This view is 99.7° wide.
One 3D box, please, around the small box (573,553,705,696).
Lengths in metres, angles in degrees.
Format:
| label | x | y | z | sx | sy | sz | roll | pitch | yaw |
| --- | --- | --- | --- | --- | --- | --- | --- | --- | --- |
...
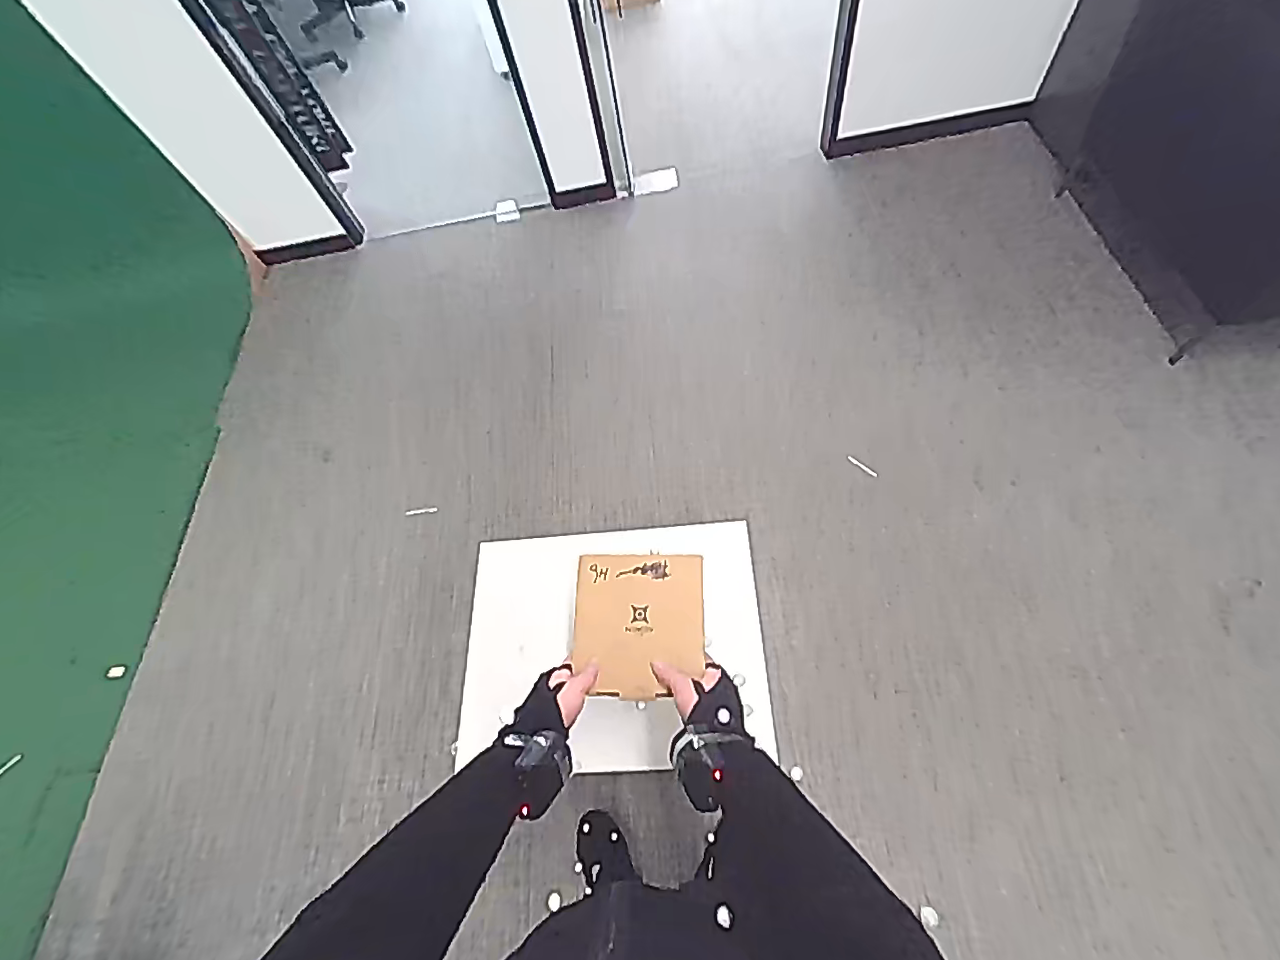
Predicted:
| label | x | y | z | sx | sy | sz | roll | pitch | yaw |
| --- | --- | --- | --- | --- | --- | --- | --- | --- | --- |
| small box | 0.005 | 0.210 | 0.761 | 0.168 | 0.176 | 0.179 | -2 | 67 | 3 |
